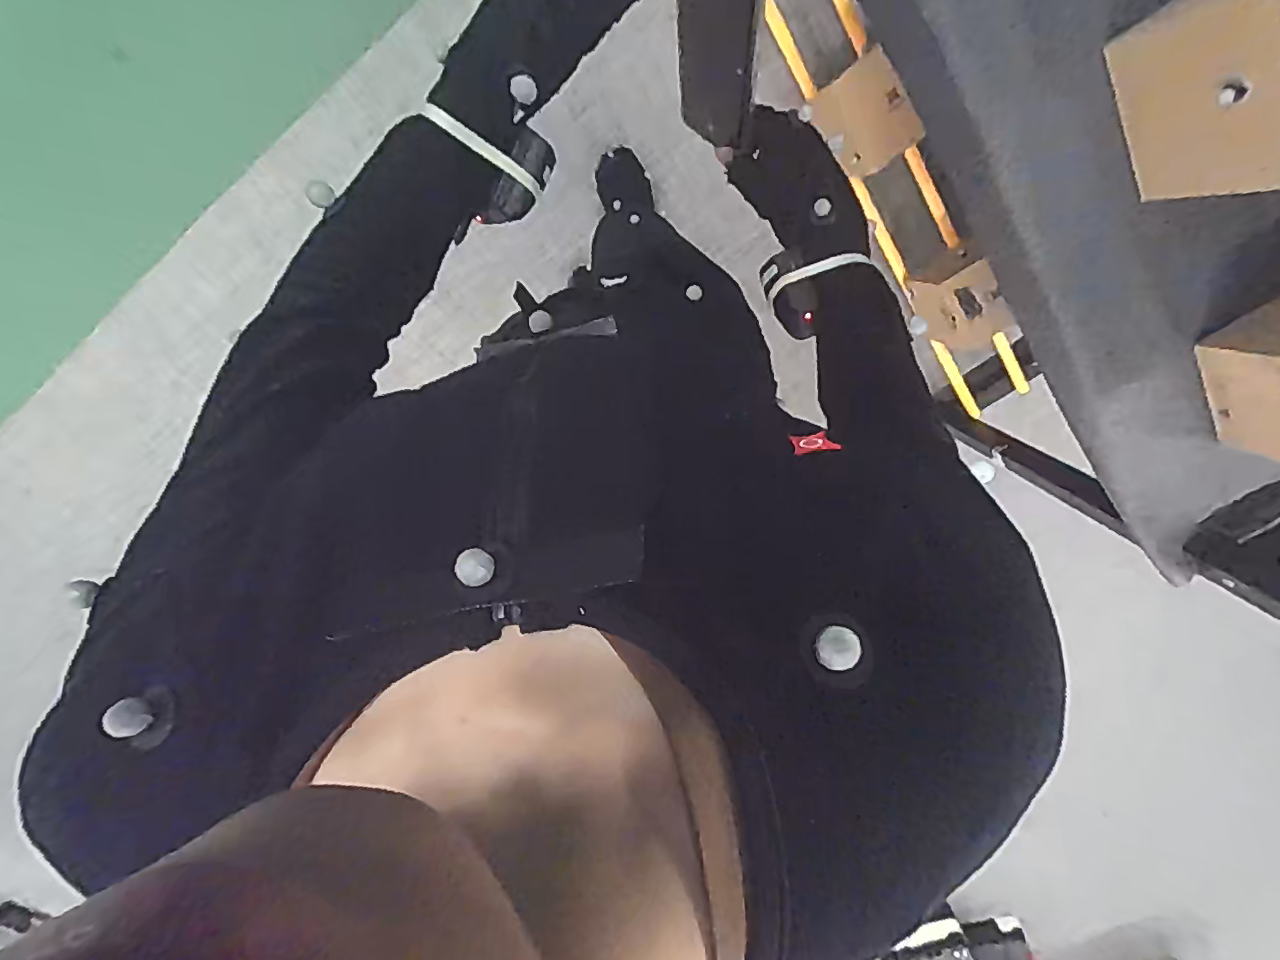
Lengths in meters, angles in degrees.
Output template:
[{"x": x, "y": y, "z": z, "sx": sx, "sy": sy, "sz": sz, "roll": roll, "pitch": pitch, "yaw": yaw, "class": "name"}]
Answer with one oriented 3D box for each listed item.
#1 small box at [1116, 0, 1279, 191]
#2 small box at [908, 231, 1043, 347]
[{"x": 0.603, "y": -0.401, "z": 0.504, "sx": 0.168, "sy": 0.176, "sz": 0.179, "roll": -32, "pitch": 111, "yaw": 12, "class": "small box"}, {"x": 0.718, "y": -0.418, "z": 1.182, "sx": 0.179, "sy": 0.176, "sz": 0.168, "roll": -31, "pitch": 111, "yaw": 12, "class": "small box"}]
